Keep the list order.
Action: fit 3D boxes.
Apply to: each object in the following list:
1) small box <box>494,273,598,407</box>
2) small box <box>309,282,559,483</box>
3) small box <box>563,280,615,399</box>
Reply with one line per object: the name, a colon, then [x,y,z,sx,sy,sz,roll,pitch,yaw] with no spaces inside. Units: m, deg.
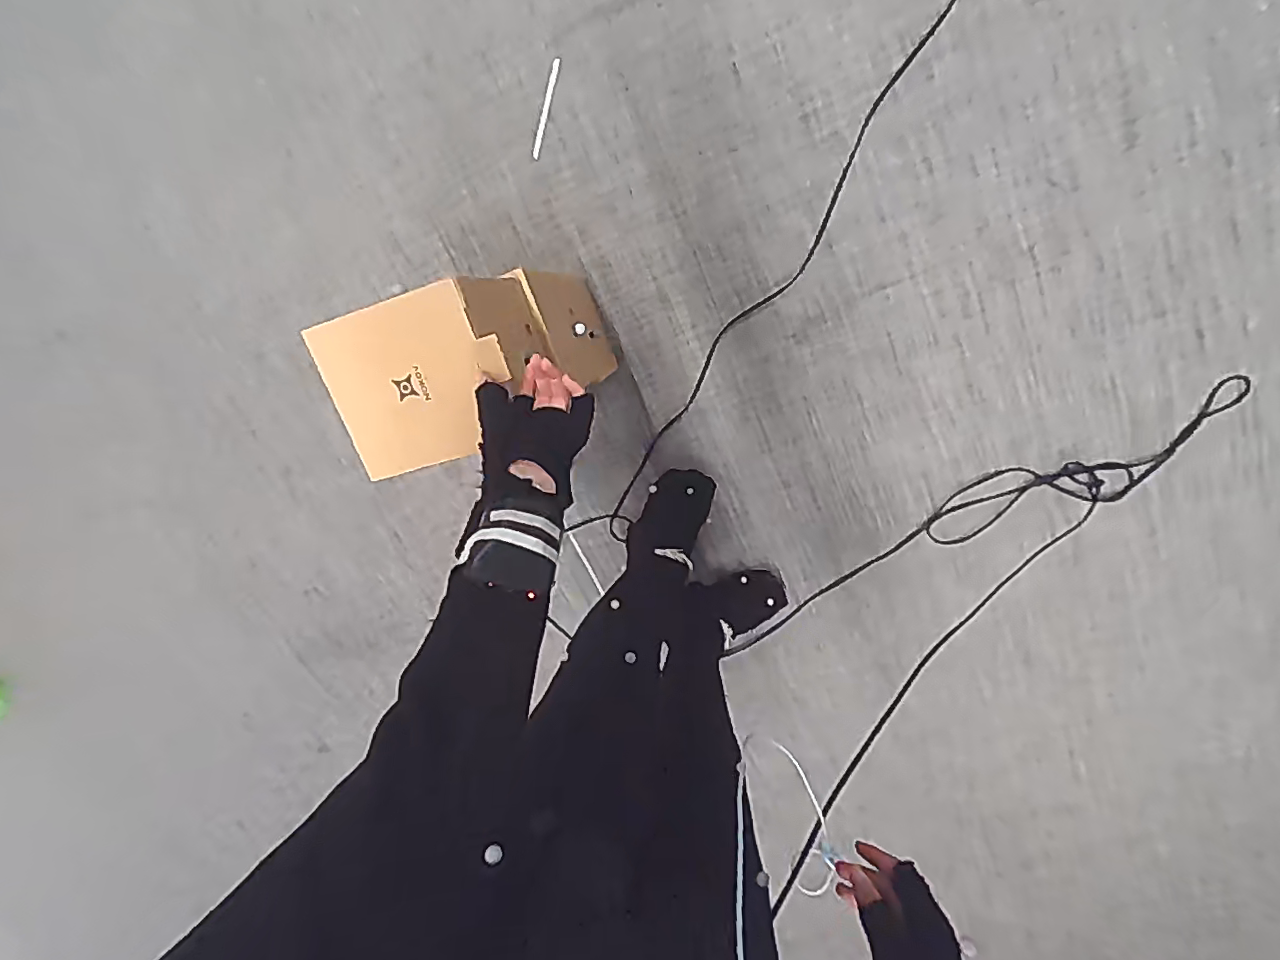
small box: [-0.179,-0.176,0.760,0.179,0.176,0.168,-17,106,13]
small box: [-0.215,-0.114,0.613,0.179,0.176,0.168,-14,107,12]
small box: [-0.154,-0.227,0.915,0.168,0.176,0.179,-18,107,14]
